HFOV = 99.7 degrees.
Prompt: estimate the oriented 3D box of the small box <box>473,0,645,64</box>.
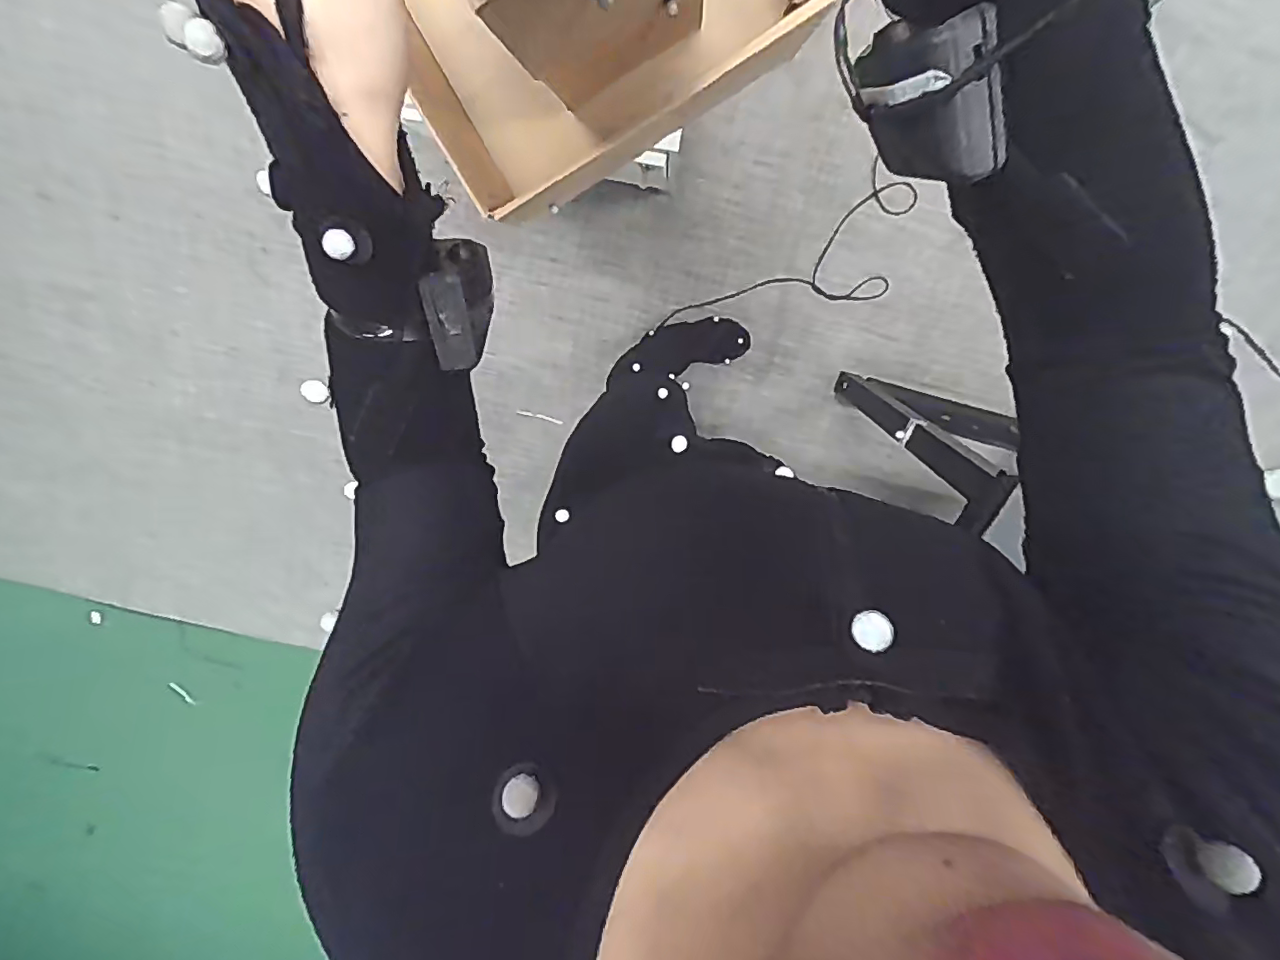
[{"bbox_3d":[-0.059,-0.435,0.366,0.179,0.176,0.168,-23,110,15],"label":"small box"}]
